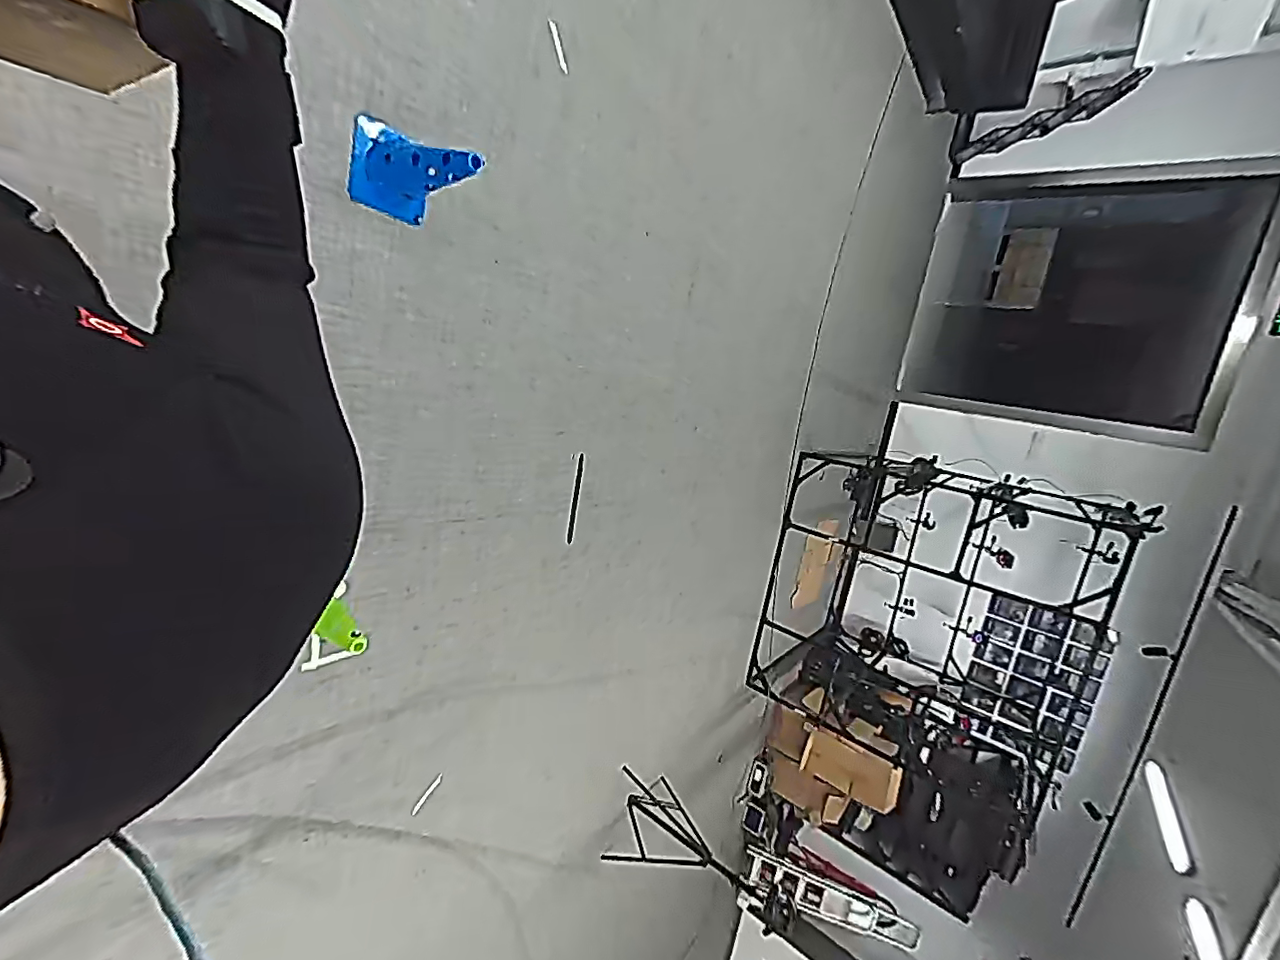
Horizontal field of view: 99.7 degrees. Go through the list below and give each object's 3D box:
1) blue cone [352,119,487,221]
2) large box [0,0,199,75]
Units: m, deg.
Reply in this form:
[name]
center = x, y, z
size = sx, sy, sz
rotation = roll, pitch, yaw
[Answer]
[blue cone]
center = -0.507, -0.748, 1.295
size = 0.192, 0.380, 0.193
rotation = 2, 103, -55
[large box]
center = -0.523, -0.485, 0.270
size = 0.408, 0.320, 0.320
rotation = -9, 115, -53
